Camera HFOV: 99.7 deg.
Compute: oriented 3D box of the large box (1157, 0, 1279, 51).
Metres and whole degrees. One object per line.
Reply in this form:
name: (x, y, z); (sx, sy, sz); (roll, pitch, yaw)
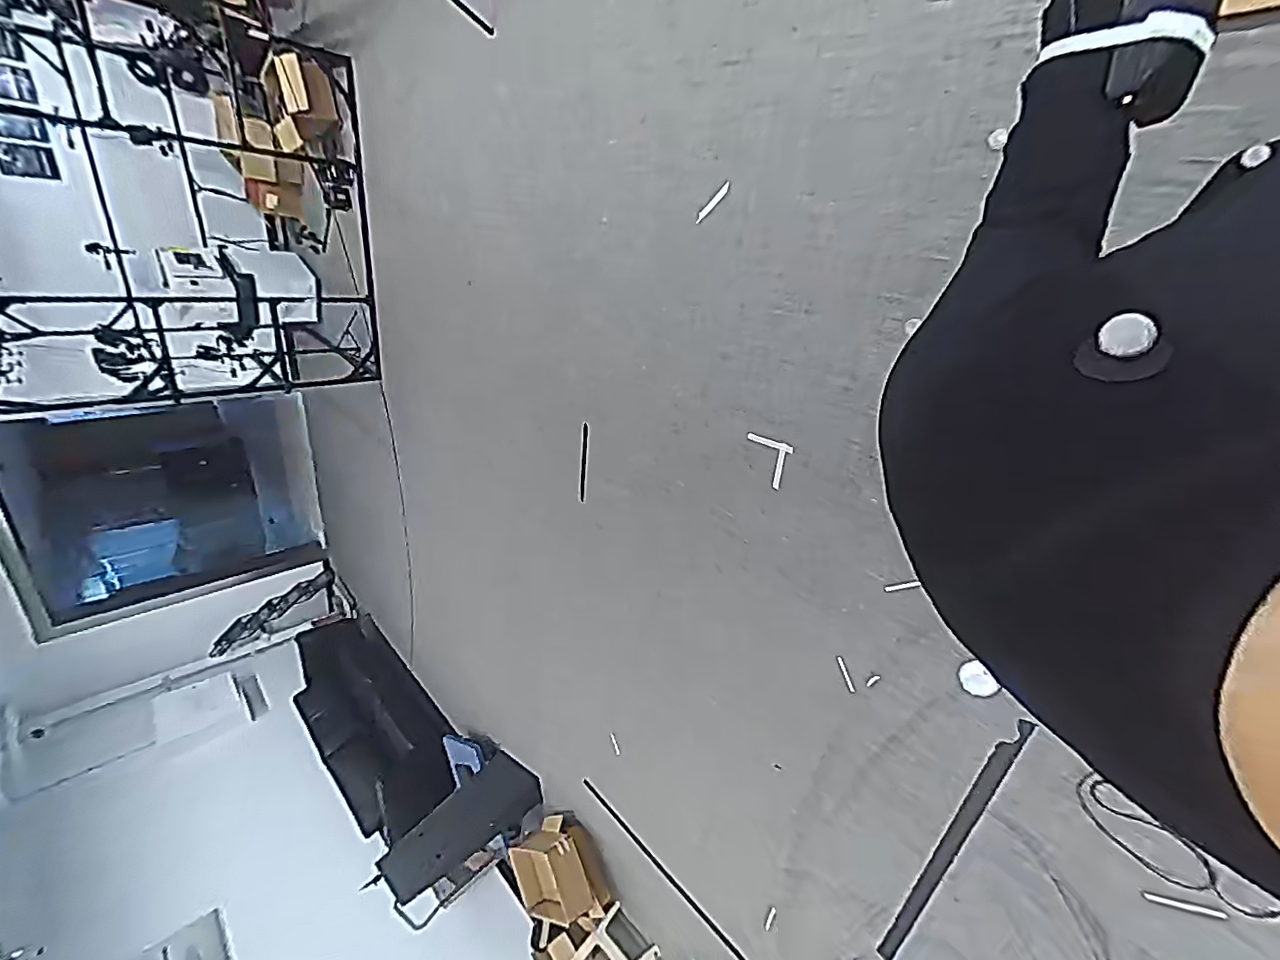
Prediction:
large box: (0.578, -0.455, 0.267); (0.408, 0.320, 0.320); (19, 131, 39)
